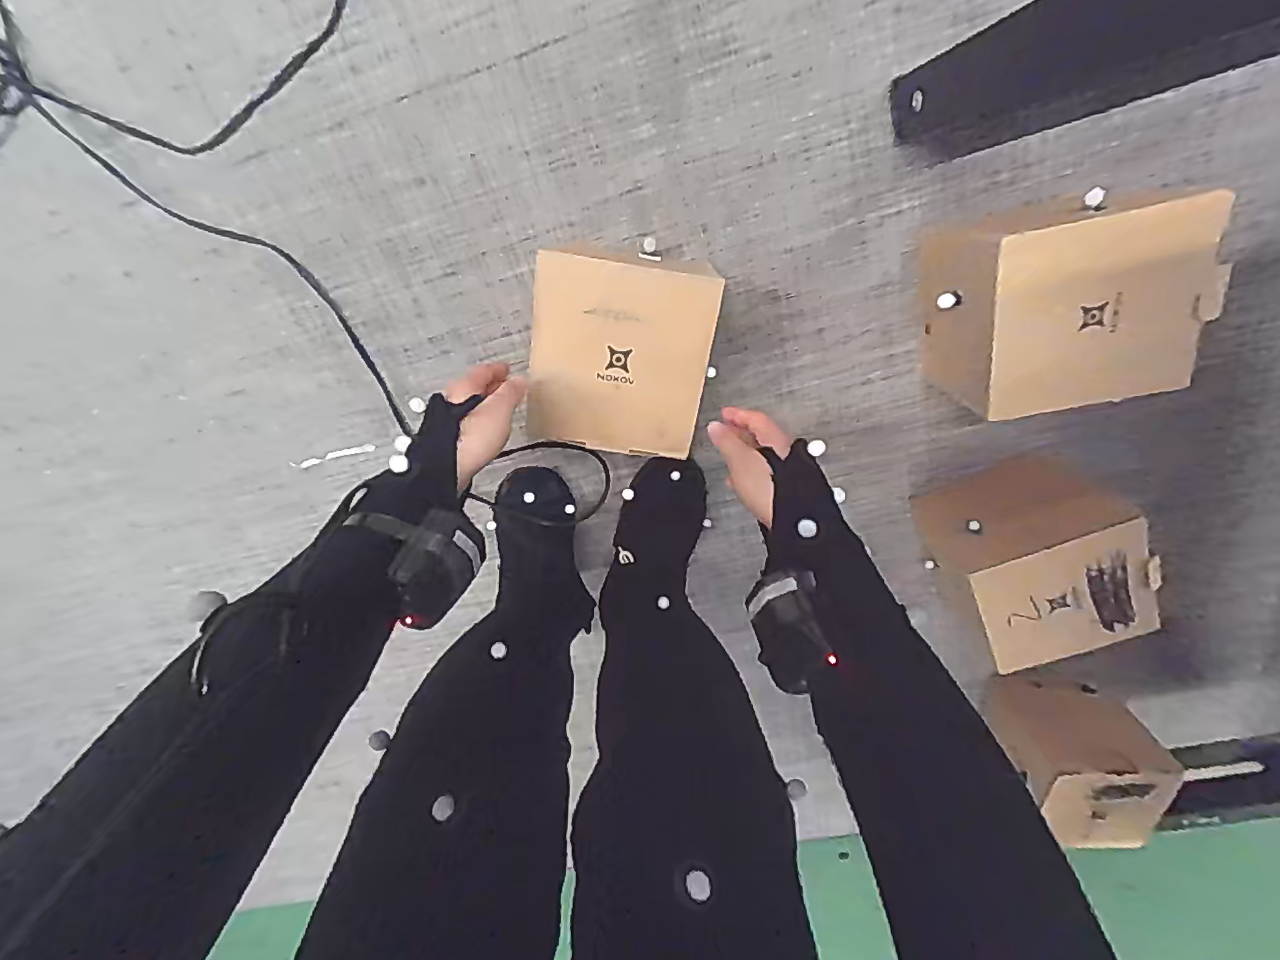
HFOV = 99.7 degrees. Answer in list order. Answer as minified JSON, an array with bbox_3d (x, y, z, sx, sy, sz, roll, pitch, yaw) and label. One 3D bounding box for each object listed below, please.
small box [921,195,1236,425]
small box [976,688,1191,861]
[{"bbox_3d":[0.398,-0.169,0.535,0.179,0.176,0.168,-10,115,7],"label":"small box"},{"bbox_3d":[0.640,0.434,0.812,0.168,0.176,0.179,-2,117,4],"label":"small box"}]
